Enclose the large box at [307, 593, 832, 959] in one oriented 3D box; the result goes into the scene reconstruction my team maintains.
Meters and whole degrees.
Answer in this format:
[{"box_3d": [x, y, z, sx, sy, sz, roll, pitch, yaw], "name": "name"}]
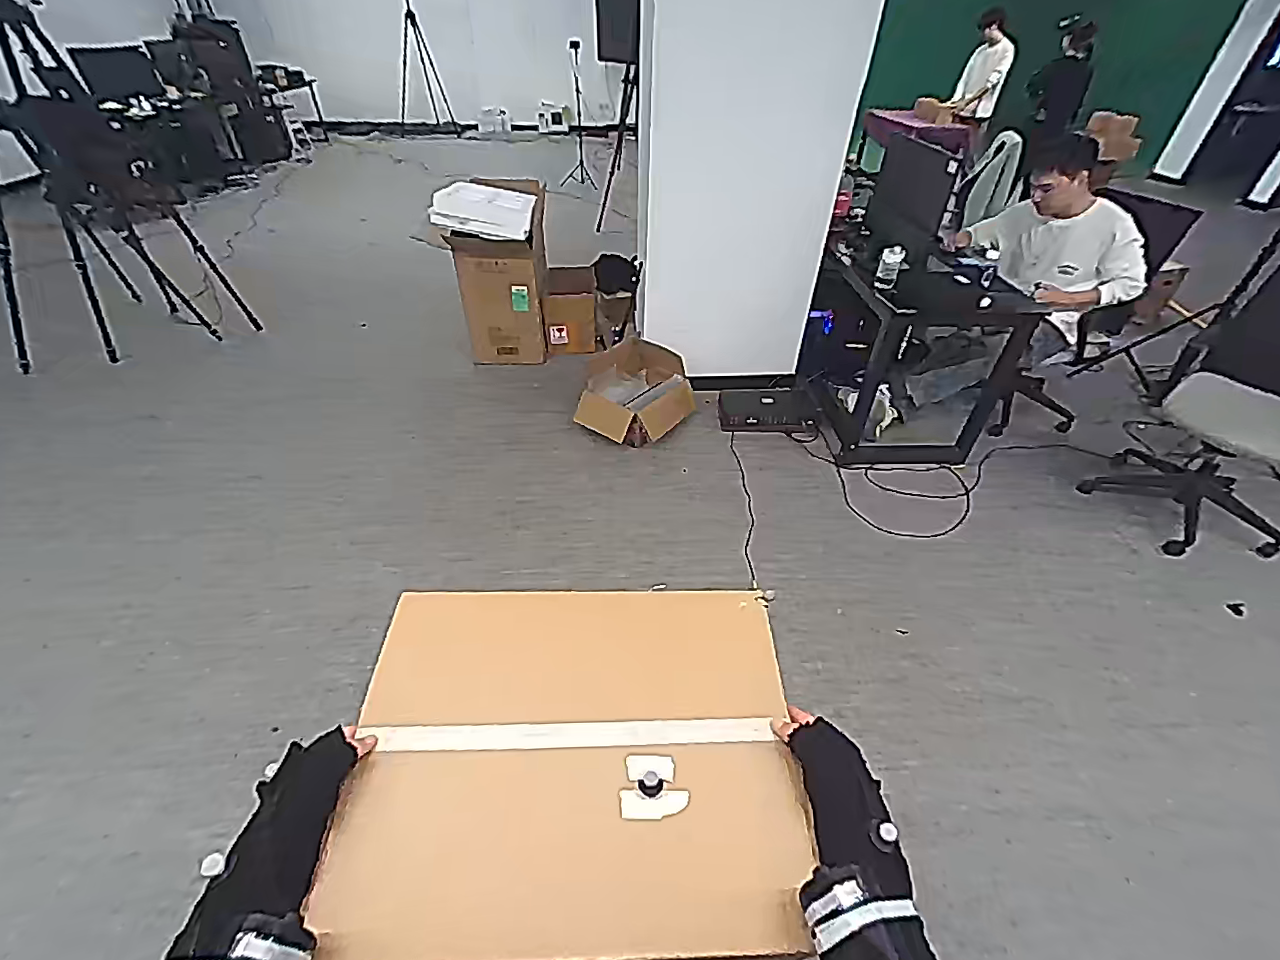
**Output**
[{"box_3d": [-0.061, 0.344, 0.613, 0.408, 0.320, 0.320, 1, 46, -3], "name": "large box"}]
